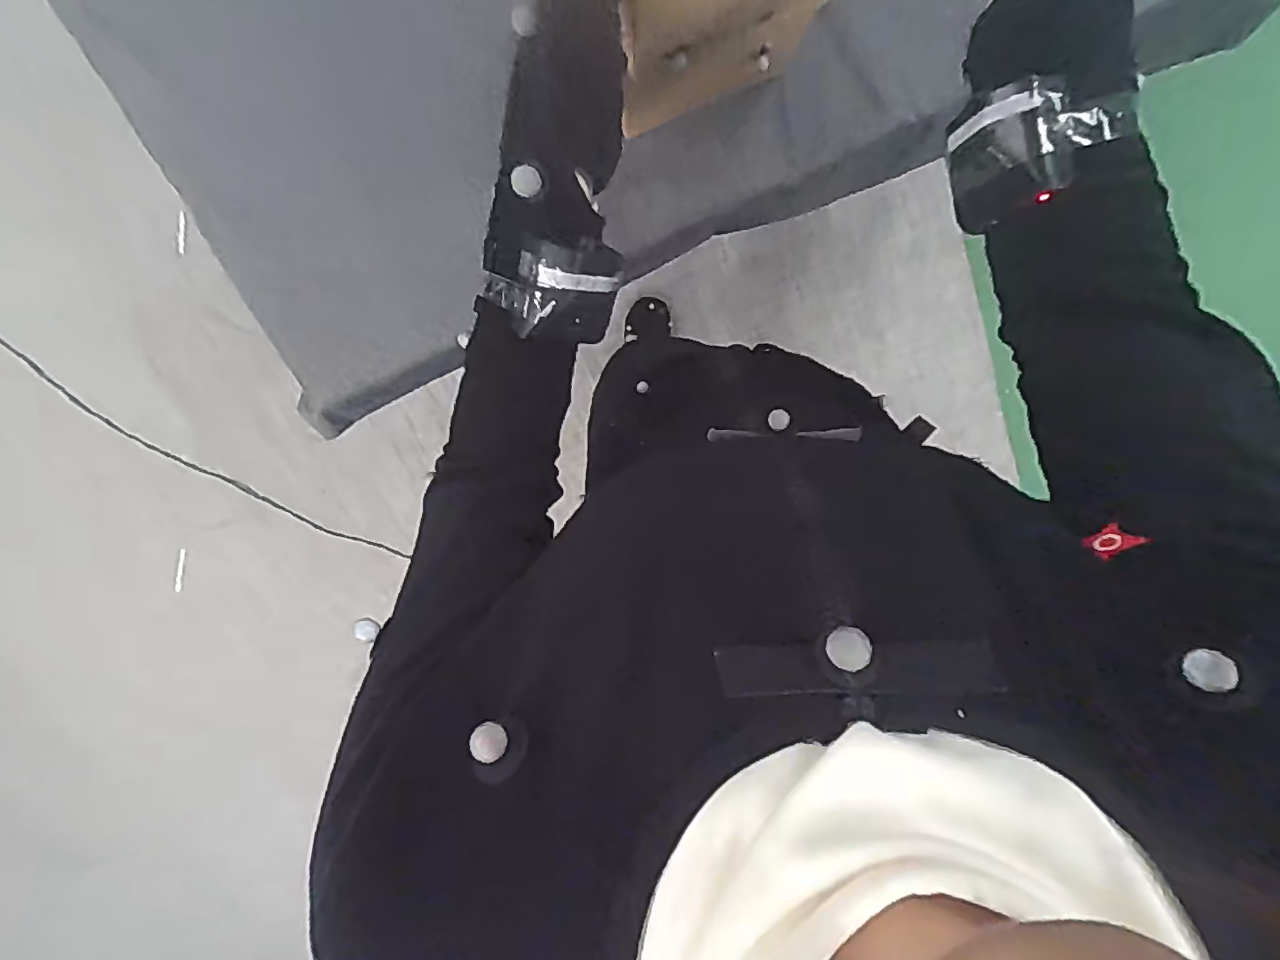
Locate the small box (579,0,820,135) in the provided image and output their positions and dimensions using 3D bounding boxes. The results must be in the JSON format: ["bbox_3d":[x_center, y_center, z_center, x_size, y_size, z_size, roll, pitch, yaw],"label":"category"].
[{"bbox_3d":[0.038,-0.449,0.481,0.179,0.176,0.168,-20,104,7],"label":"small box"}]

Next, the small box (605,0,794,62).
[{"bbox_3d":[0.039,-0.399,0.325,0.168,0.176,0.179,-24,105,6],"label":"small box"}]
